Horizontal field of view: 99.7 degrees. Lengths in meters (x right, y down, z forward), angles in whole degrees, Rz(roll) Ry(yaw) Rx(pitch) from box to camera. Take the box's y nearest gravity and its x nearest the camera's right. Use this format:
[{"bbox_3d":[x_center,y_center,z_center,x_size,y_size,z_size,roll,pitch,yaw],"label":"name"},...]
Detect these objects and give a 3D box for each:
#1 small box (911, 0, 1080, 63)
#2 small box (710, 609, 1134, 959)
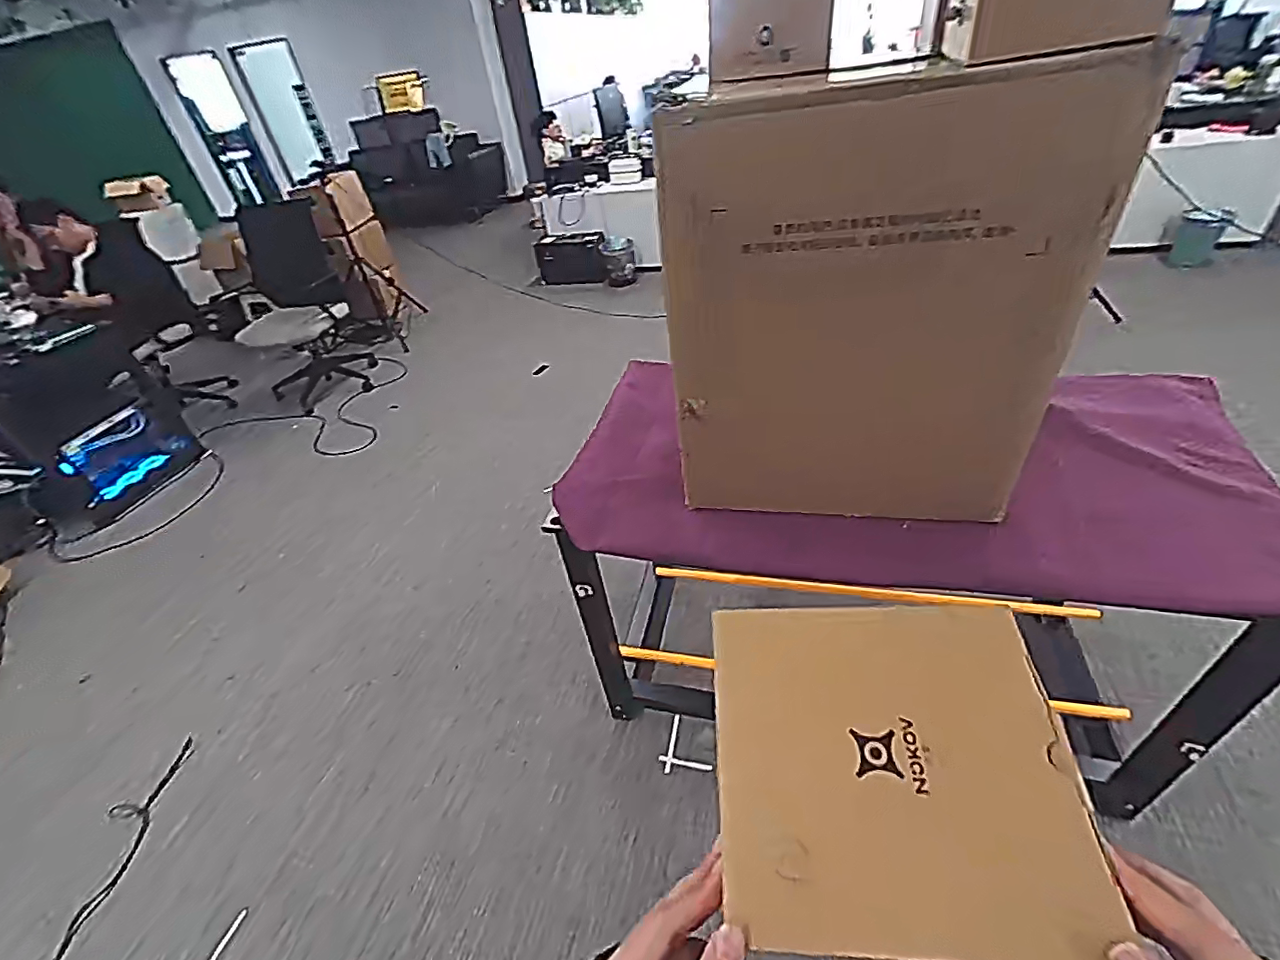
[{"bbox_3d":[0.461,-0.656,0.700,0.168,0.176,0.179,3,40,17],"label":"small box"},{"bbox_3d":[0.140,0.196,0.349,0.179,0.176,0.168,-3,51,9],"label":"small box"}]
